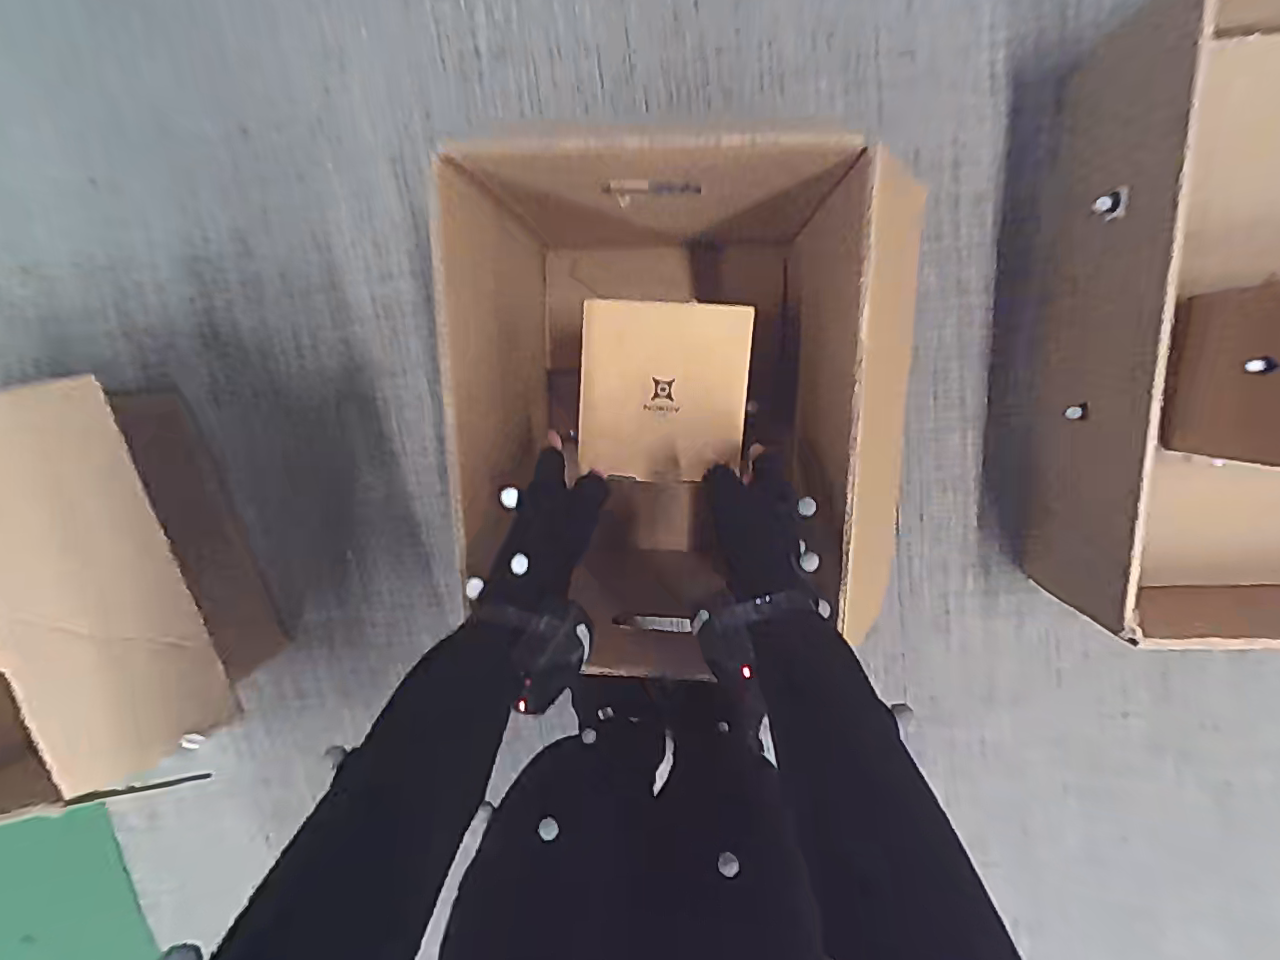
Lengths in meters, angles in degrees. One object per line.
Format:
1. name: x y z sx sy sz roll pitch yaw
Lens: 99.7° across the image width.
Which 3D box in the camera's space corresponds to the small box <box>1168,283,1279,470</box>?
1. small box: 0.676 -0.099 0.524 0.168 0.176 0.179 1 99 4
